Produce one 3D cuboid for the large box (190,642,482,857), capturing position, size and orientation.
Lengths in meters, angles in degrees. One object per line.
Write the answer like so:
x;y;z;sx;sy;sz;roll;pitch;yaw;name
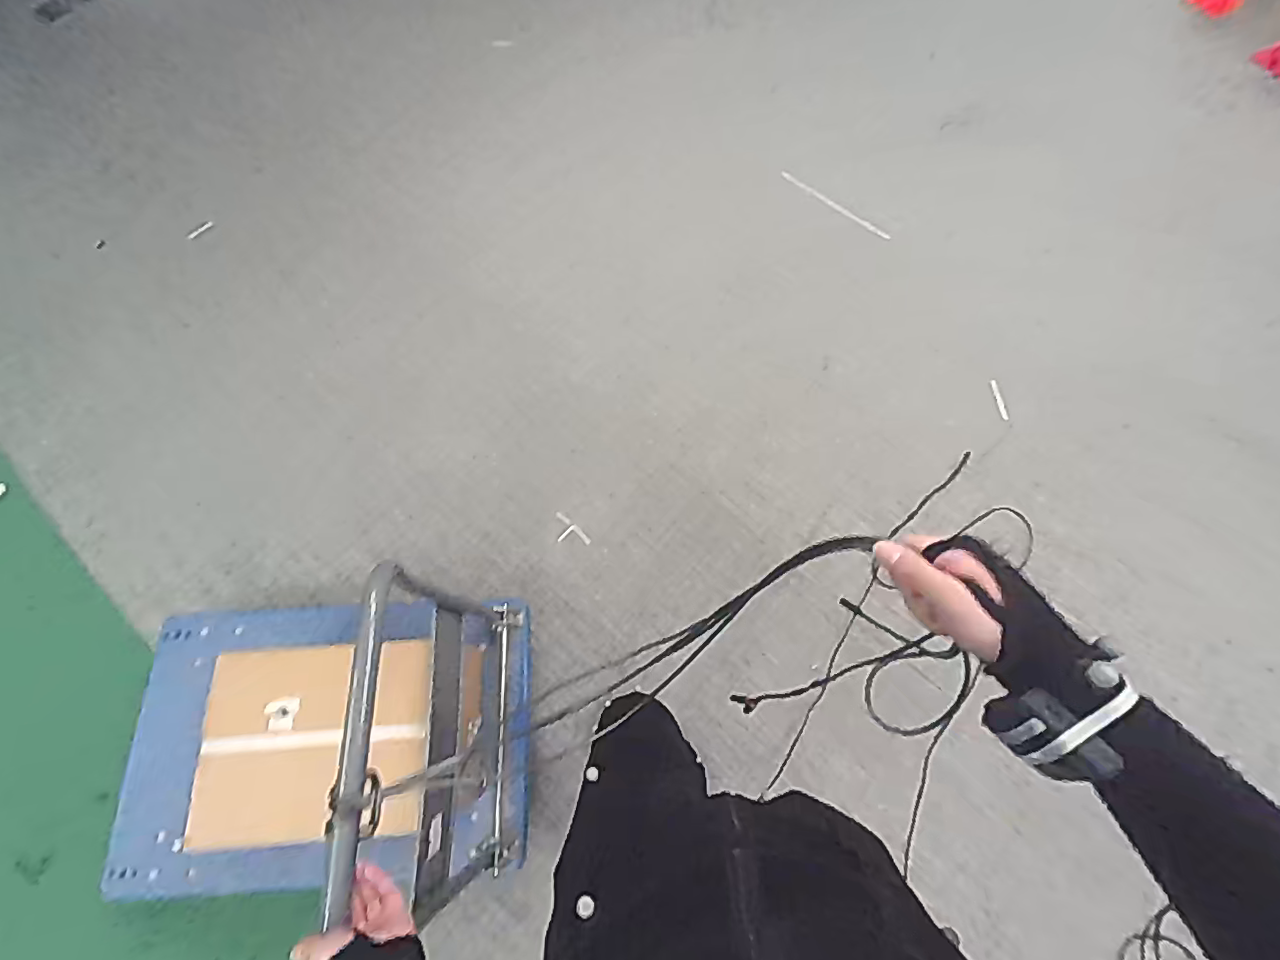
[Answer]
-0.554;0.509;1.082;0.408;0.320;0.320;-4;69;-1;large box
